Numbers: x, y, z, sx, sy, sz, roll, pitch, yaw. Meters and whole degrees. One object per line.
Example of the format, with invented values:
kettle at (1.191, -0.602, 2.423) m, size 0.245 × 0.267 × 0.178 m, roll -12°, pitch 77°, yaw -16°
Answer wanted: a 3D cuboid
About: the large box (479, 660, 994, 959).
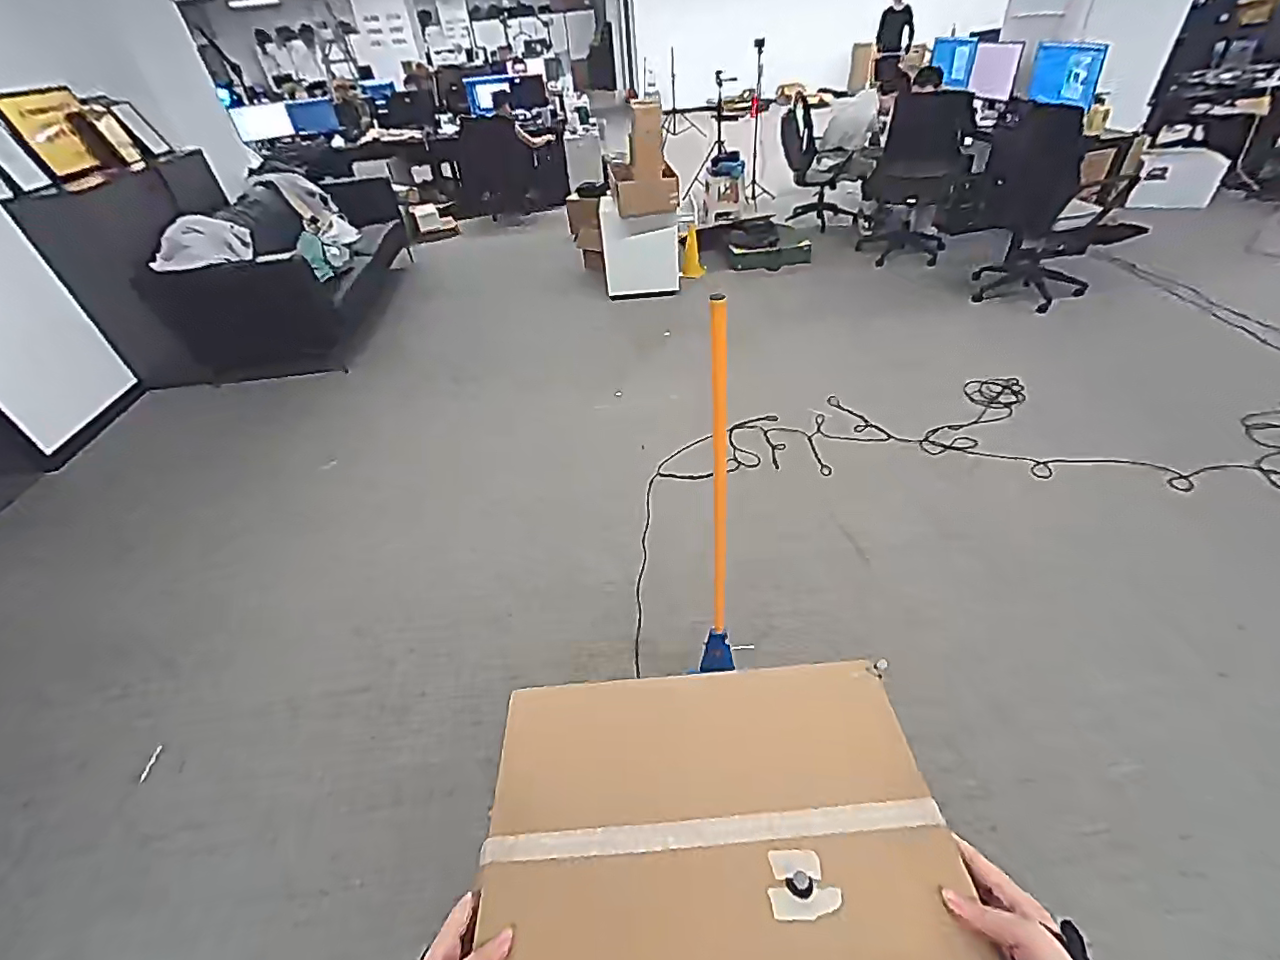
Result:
large box at (0.072, 0.432, 0.583) m, size 0.408 × 0.320 × 0.320 m, roll -5°, pitch 39°, yaw 0°
